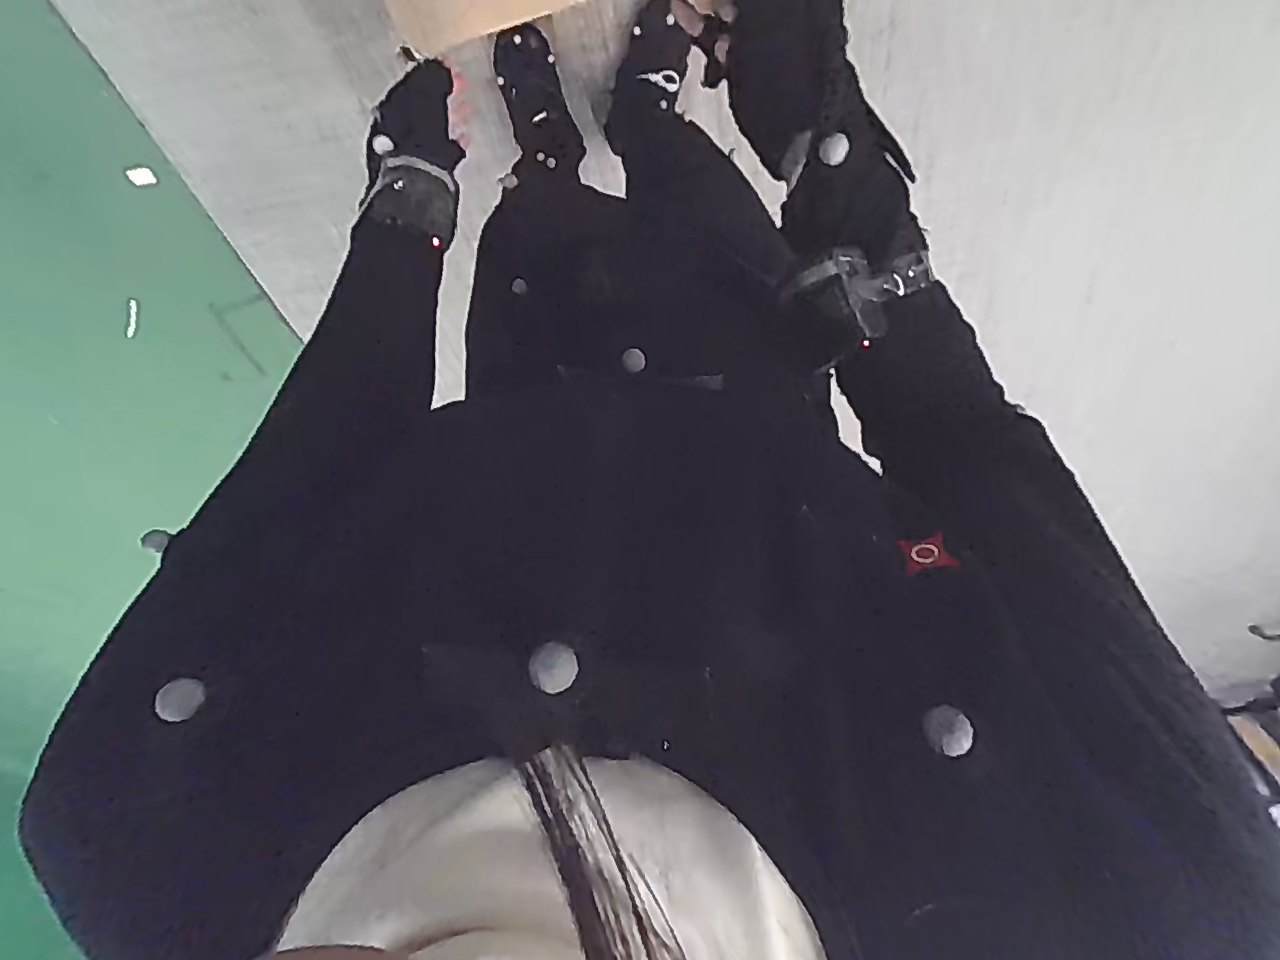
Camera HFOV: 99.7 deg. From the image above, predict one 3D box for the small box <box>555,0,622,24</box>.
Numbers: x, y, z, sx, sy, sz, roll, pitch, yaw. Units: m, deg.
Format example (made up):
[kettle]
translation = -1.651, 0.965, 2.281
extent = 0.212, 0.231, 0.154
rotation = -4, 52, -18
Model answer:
[small box]
translation = -0.009, -0.407, 0.308
extent = 0.168, 0.176, 0.179
rotation = -21, 132, 9
